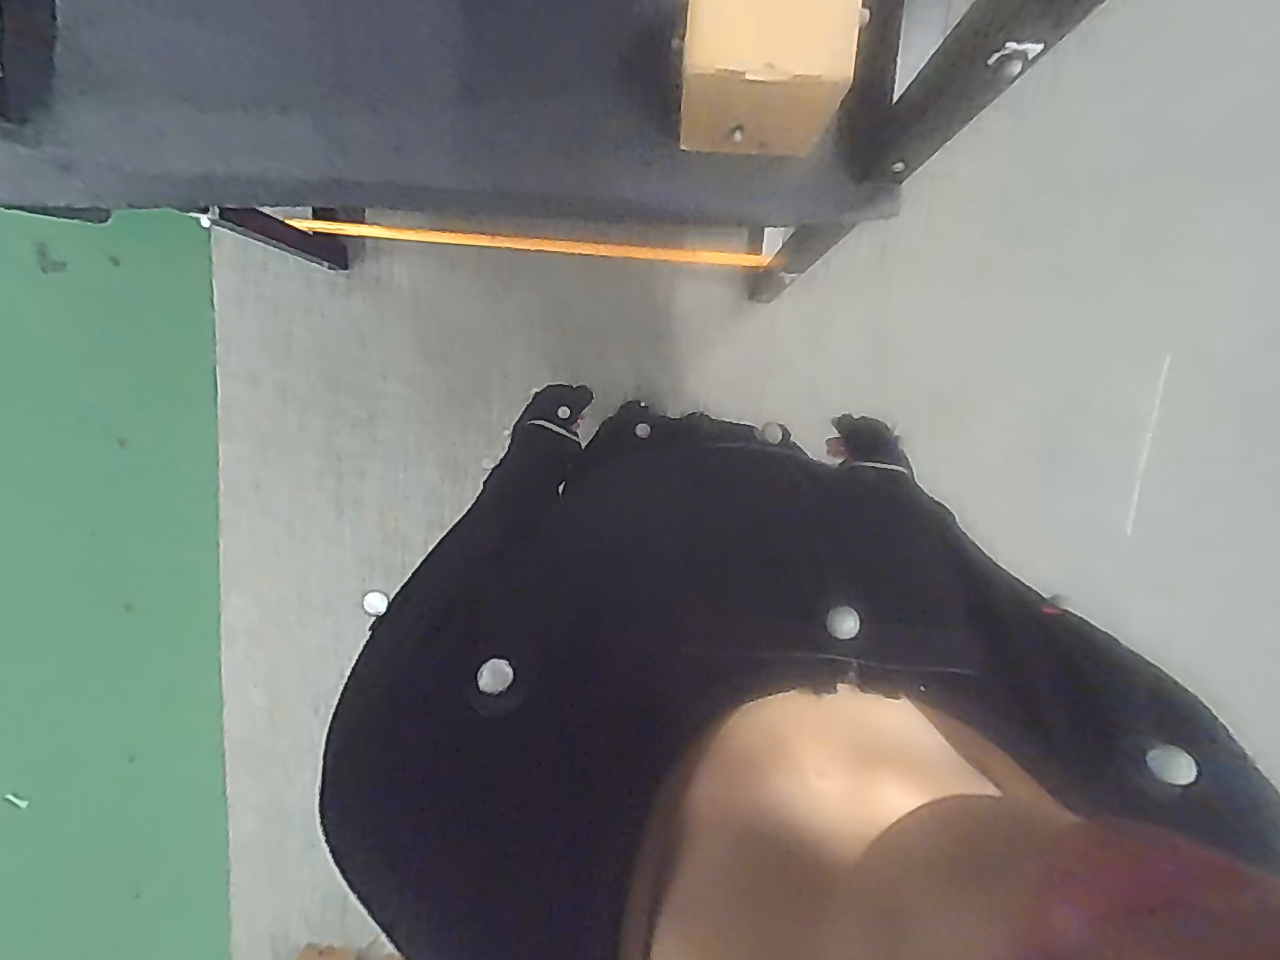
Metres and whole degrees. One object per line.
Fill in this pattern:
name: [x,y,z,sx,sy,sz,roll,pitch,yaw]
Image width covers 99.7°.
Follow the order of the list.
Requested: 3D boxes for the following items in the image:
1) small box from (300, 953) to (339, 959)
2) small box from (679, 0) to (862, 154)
small box: [-1.018,1.623,1.672,0.168,0.176,0.179,7,98,3]
small box: [0.132,-0.488,0.584,0.168,0.176,0.179,5,98,2]
